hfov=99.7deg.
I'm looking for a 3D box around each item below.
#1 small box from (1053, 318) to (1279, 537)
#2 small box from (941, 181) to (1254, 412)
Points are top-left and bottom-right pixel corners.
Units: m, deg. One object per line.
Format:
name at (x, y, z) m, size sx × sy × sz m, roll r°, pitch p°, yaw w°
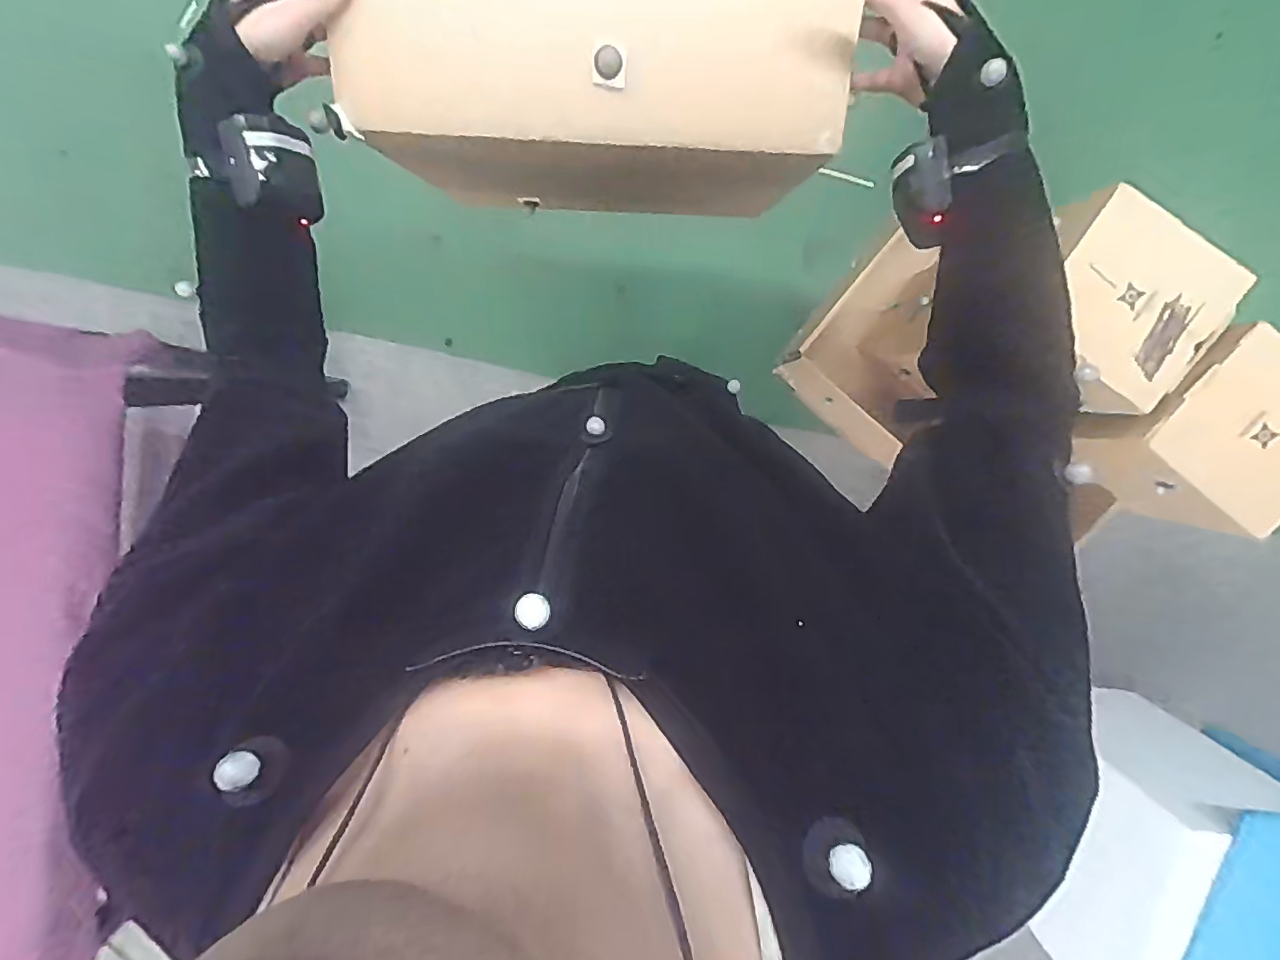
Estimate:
small box at (0.660, -0.061, 0.646) m, size 0.179 × 0.176 × 0.168 m, roll 40°, pitch 98°, yaw -2°
small box at (0.502, -0.195, 0.624) m, size 0.179 × 0.176 × 0.168 m, roll 32°, pitch 97°, yaw -3°
